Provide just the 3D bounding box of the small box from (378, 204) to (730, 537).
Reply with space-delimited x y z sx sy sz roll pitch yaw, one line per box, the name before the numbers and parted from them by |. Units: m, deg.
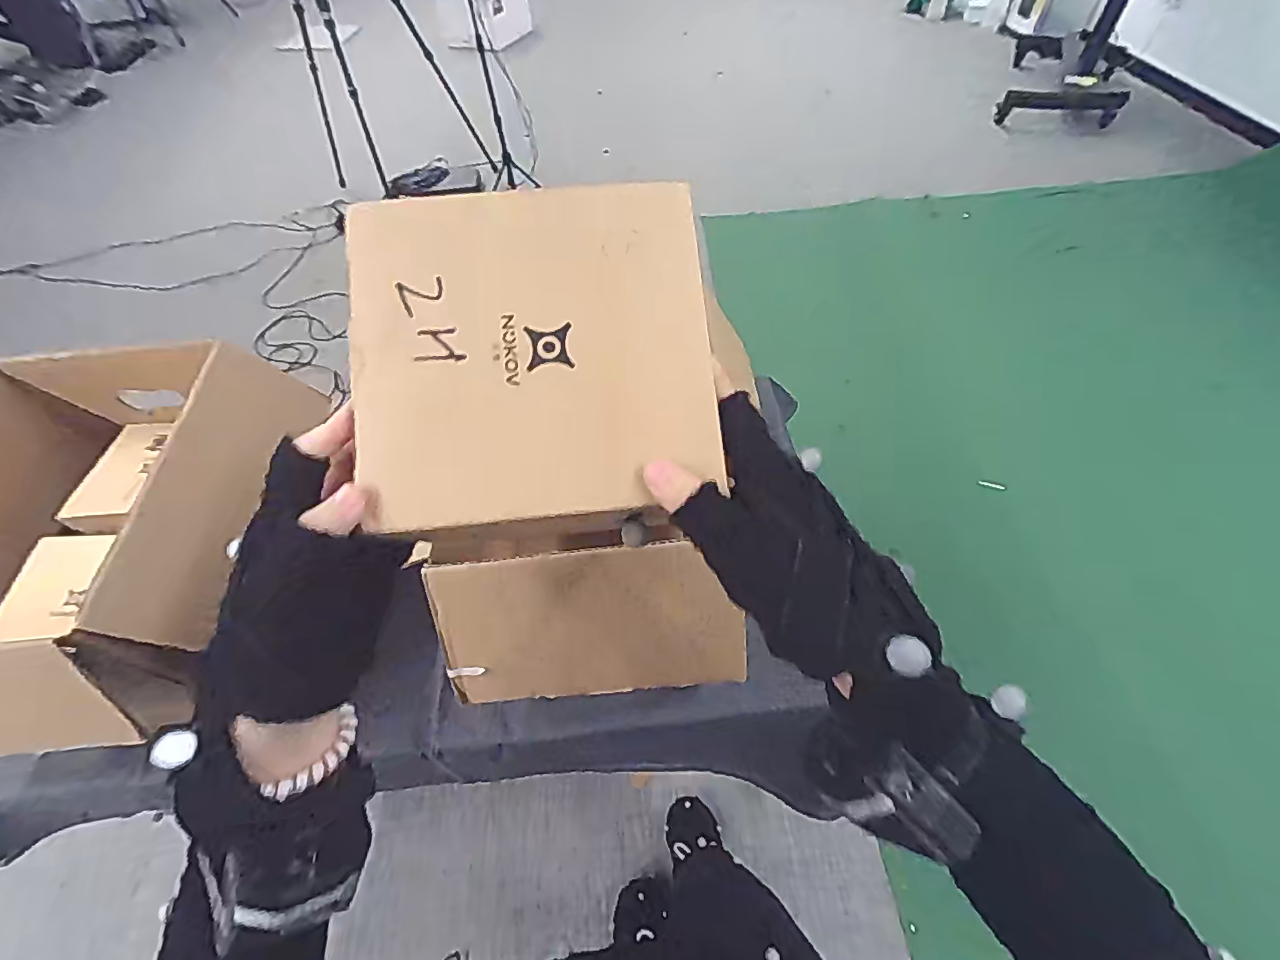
small box | -0.050 -0.053 0.357 0.179 0.176 0.168 -4 81 -3
